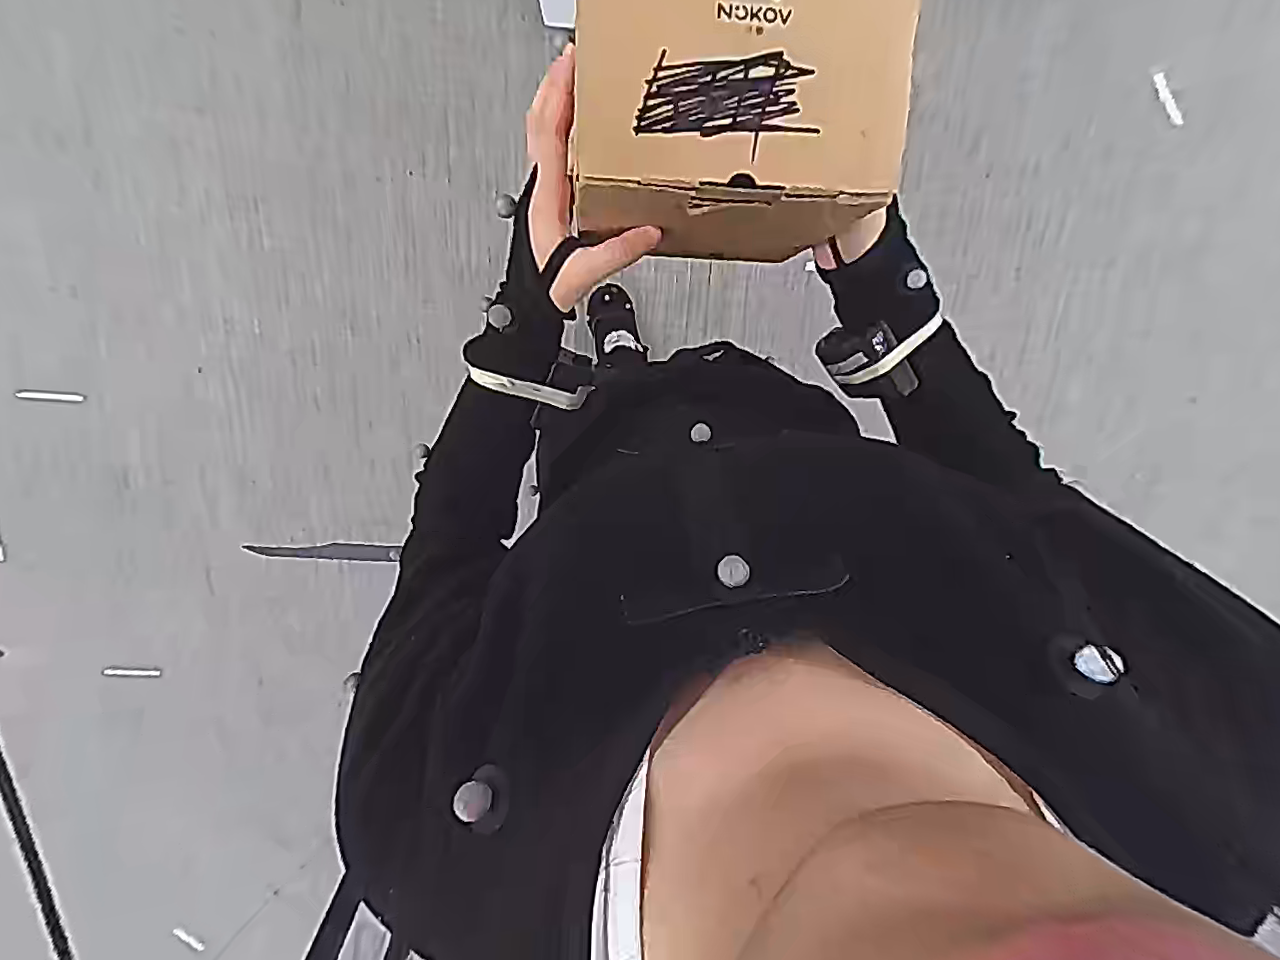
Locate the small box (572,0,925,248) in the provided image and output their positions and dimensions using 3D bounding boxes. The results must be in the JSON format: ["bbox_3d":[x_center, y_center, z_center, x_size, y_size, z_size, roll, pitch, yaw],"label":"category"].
[{"bbox_3d":[0.046,-0.248,0.324,0.168,0.176,0.179,0,101,-6],"label":"small box"}]
